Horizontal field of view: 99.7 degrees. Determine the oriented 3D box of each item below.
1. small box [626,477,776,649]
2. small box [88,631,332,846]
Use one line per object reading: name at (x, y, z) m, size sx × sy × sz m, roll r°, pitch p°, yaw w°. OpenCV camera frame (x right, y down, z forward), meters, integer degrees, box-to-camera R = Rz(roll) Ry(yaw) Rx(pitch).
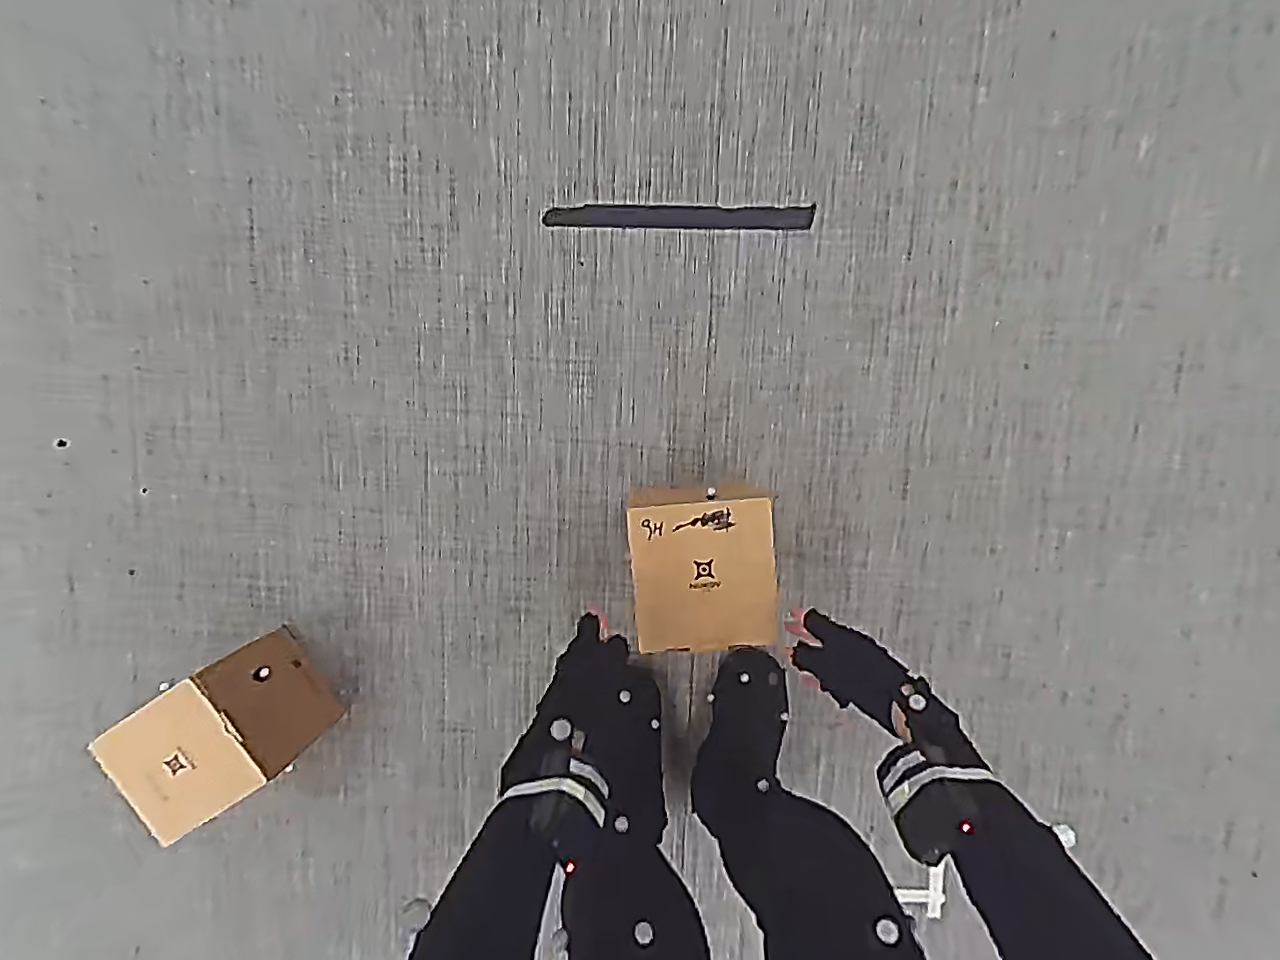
small box at (0.075, 0.097, 0.694) m, size 0.168 × 0.176 × 0.179 m, roll -5°, pitch 97°, yaw 2°
small box at (-0.566, 0.339, 0.745) m, size 0.179 × 0.176 × 0.168 m, roll -34°, pitch 93°, yaw 6°
